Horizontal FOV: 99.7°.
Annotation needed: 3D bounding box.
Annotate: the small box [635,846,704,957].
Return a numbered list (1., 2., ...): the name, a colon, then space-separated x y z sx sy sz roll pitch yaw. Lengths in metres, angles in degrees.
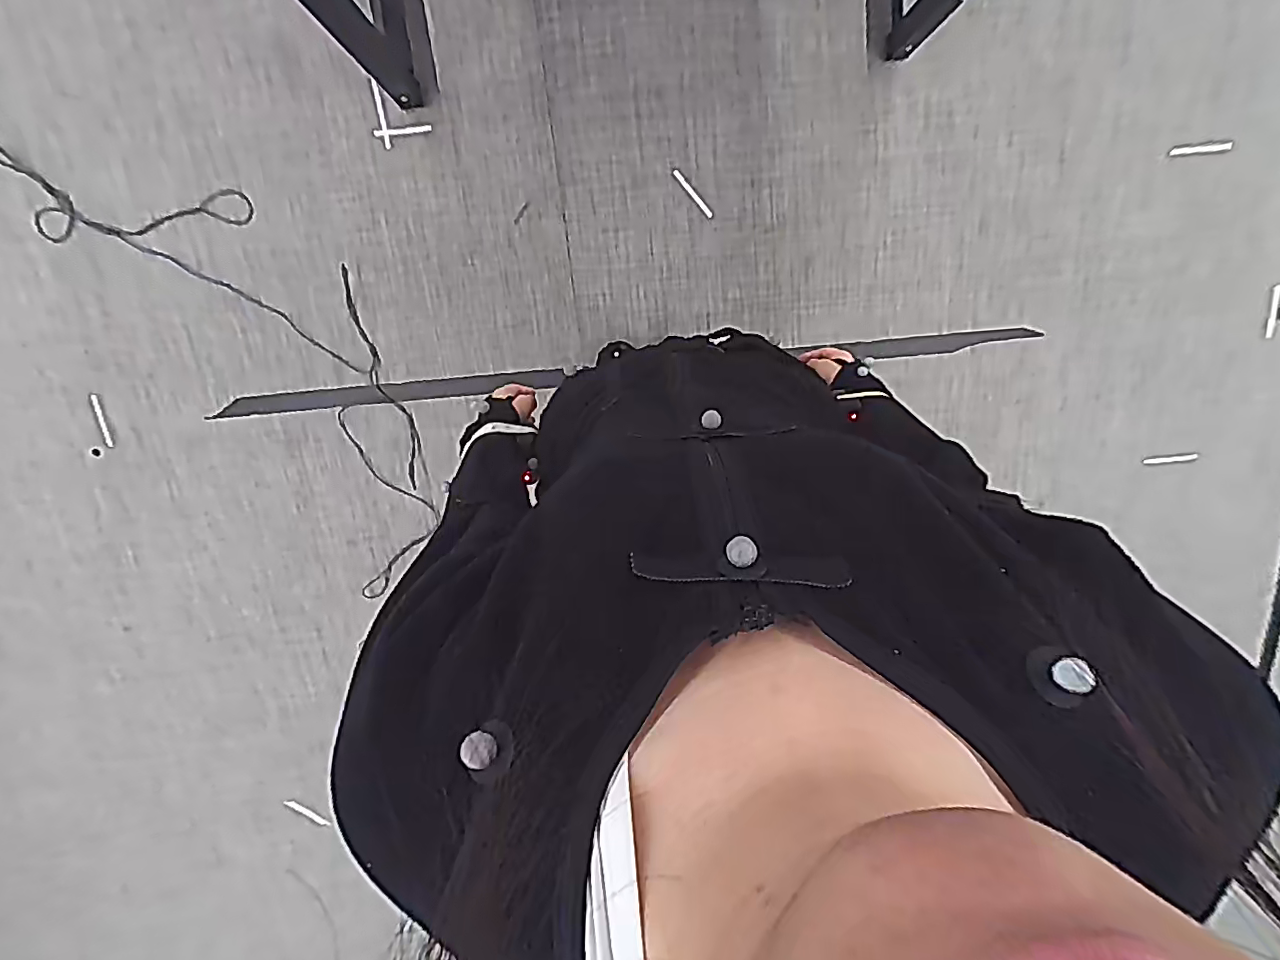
1. small box: 0.080 1.188 1.532 0.168 0.176 0.179 -10 105 0
